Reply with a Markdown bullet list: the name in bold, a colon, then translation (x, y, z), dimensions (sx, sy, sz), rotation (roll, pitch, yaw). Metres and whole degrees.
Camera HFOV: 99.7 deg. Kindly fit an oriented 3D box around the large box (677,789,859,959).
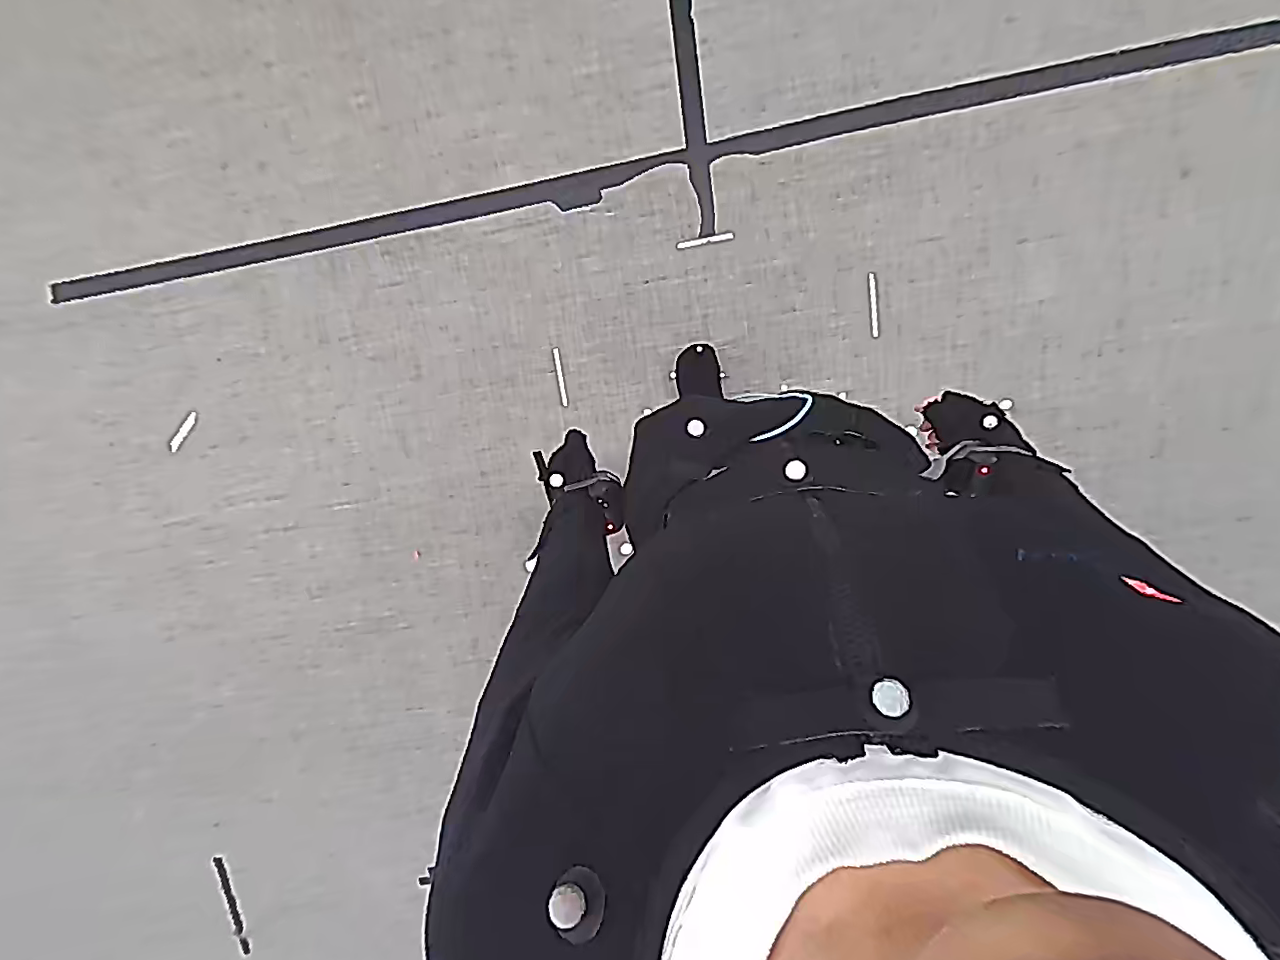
- **large box**: translation (0.339, 1.143, 1.517), dimensions (0.408, 0.320, 0.320), rotation (-16, 101, 6)
